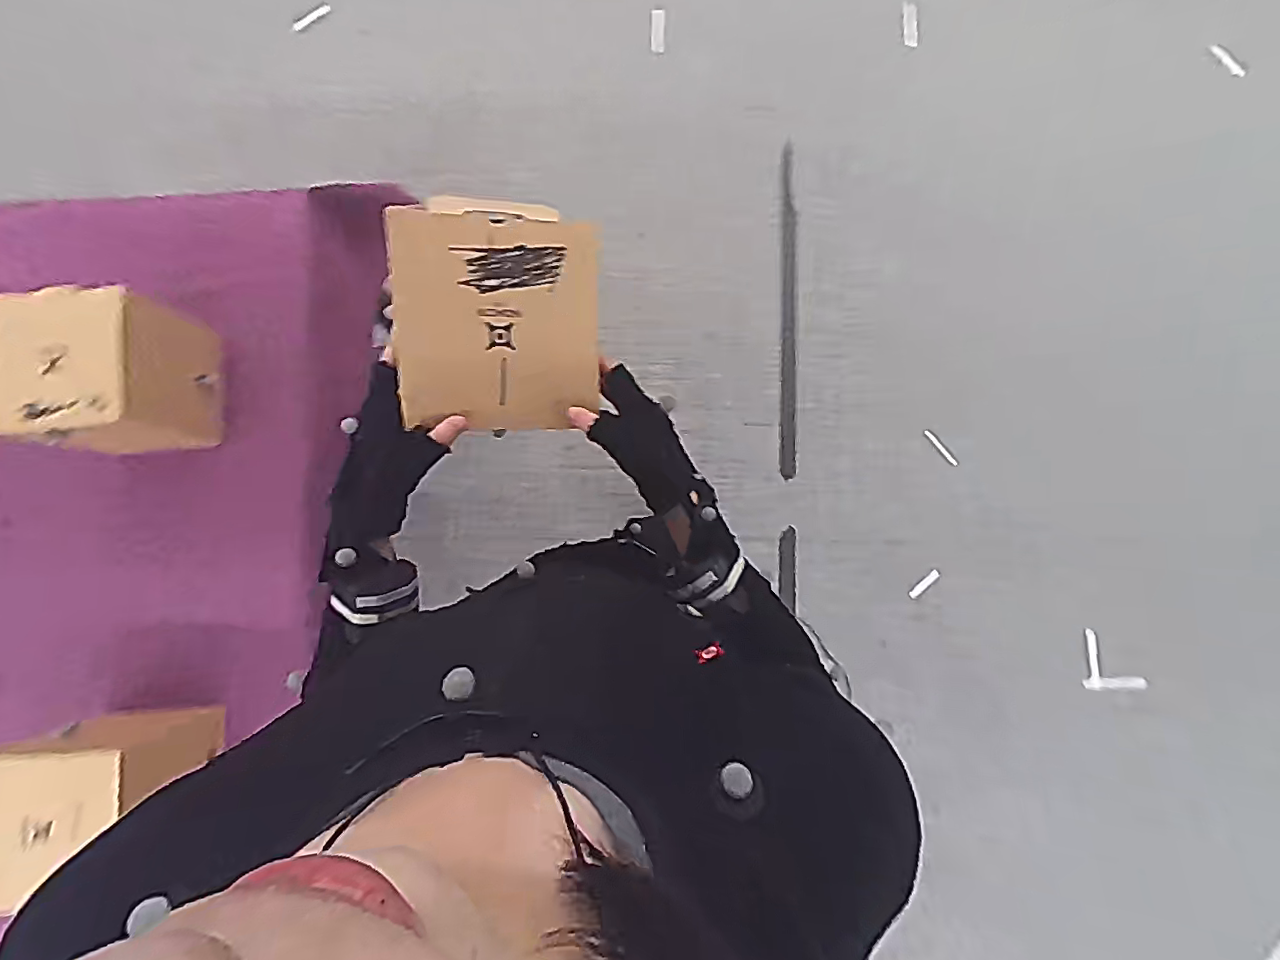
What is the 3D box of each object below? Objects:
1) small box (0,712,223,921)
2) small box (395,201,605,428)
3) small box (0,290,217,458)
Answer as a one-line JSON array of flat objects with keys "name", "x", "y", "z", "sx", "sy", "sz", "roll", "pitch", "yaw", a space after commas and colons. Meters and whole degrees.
[{"name": "small box", "x": -0.672, "y": 0.403, "z": 0.674, "sx": 0.179, "sy": 0.176, "sz": 0.168, "roll": -4, "pitch": 85, "yaw": -2}, {"name": "small box", "x": -0.130, "y": -0.142, "z": 0.519, "sx": 0.168, "sy": 0.176, "sz": 0.179, "roll": -3, "pitch": 100, "yaw": -14}, {"name": "small box", "x": -0.716, "y": -0.134, "z": 0.734, "sx": 0.168, "sy": 0.176, "sz": 0.179, "roll": -5, "pitch": 83, "yaw": -1}]
